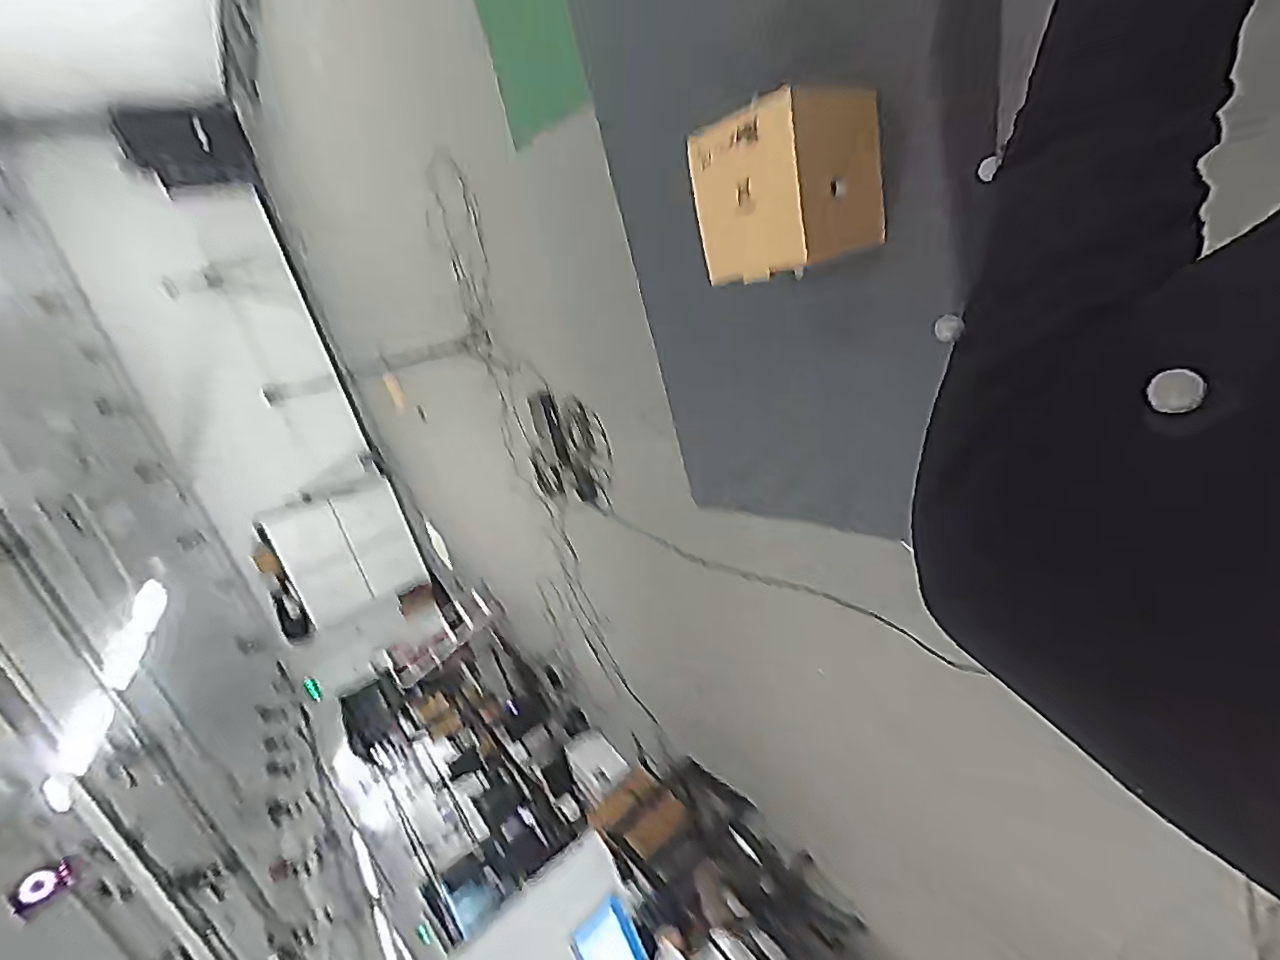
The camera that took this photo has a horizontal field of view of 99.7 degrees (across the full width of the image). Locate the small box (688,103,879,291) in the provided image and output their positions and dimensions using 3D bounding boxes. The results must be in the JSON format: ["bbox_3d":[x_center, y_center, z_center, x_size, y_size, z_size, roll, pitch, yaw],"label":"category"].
[{"bbox_3d":[0.192,-0.364,0.708,0.168,0.176,0.179,14,124,53],"label":"small box"}]
